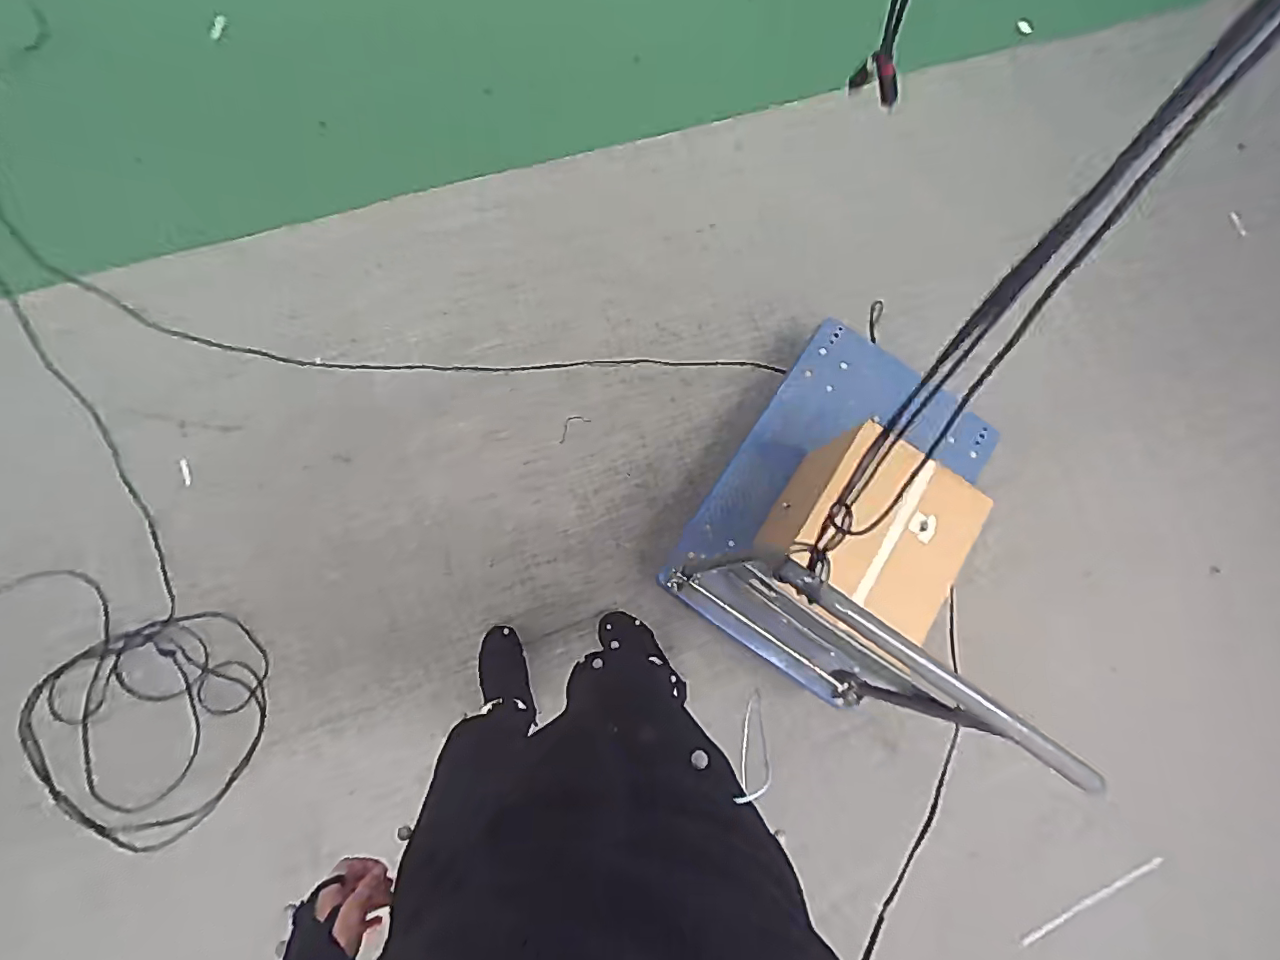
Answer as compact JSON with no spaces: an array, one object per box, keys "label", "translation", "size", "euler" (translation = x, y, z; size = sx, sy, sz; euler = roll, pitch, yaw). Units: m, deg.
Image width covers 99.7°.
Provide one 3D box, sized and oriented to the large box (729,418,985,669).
[{"label":"large box","translation":[0.455,0.145,1.203],"size":[0.320,0.320,0.408],"euler":[35,77,0]}]
